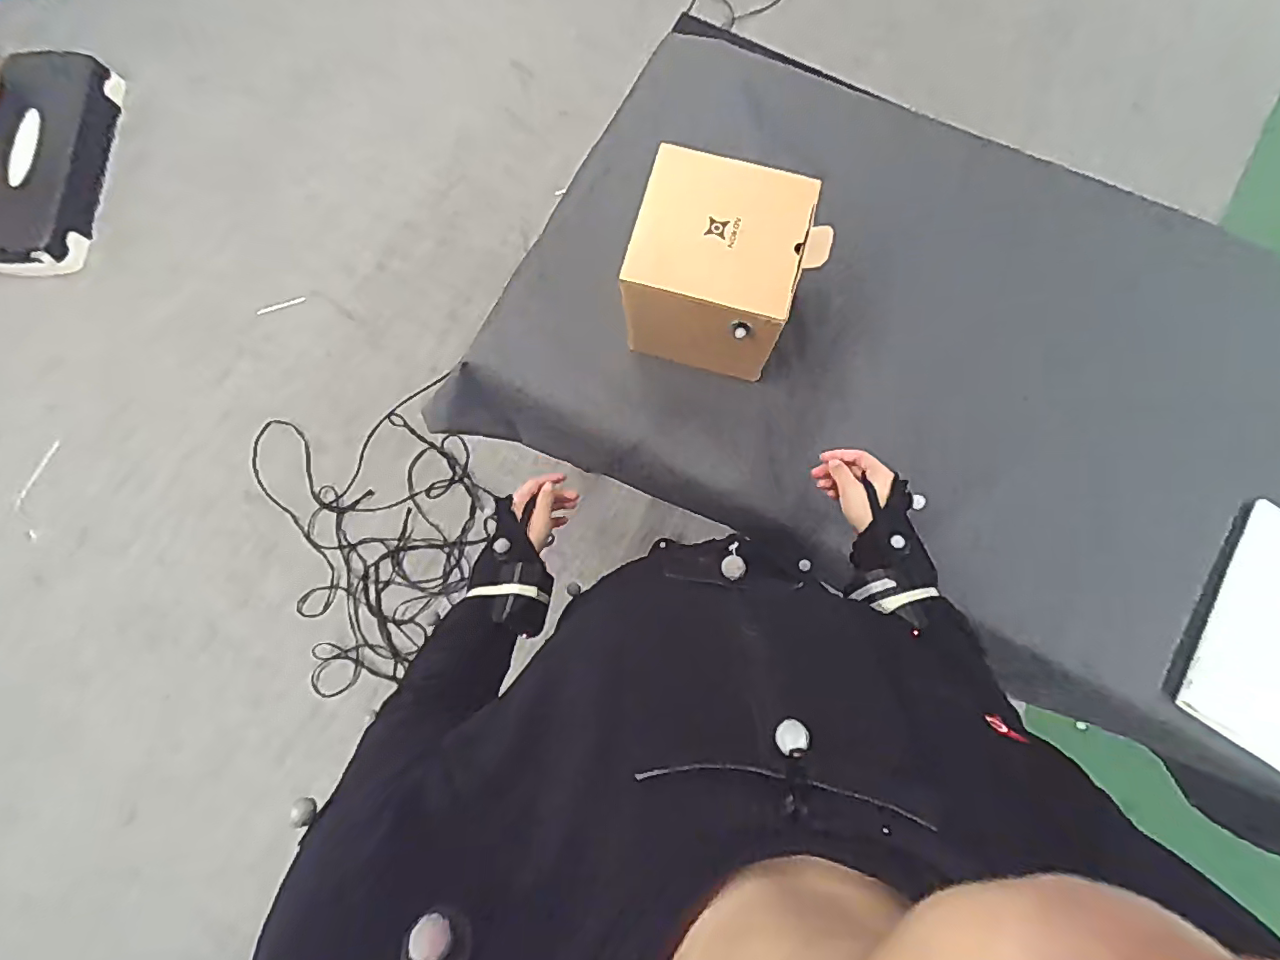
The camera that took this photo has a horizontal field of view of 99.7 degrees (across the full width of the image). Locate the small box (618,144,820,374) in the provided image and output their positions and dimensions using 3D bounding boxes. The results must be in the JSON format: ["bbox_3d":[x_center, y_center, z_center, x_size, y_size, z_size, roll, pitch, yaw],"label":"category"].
[{"bbox_3d":[0.083,-0.241,0.627,0.179,0.176,0.168,15,80,3],"label":"small box"}]
